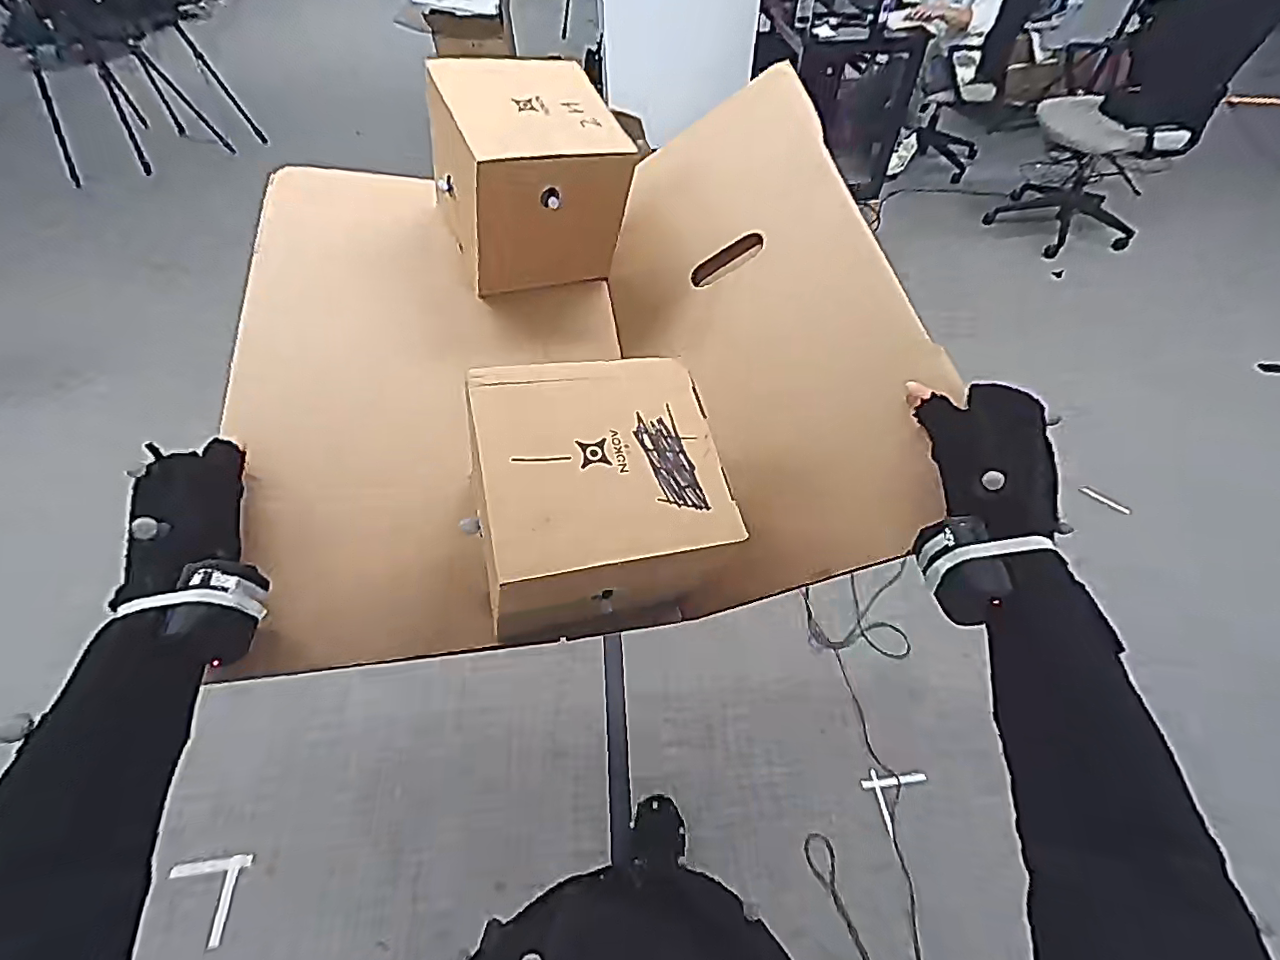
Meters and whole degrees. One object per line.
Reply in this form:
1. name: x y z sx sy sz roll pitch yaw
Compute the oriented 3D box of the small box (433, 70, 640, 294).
1. small box: -0.125 -0.341 0.635 0.179 0.176 0.168 -17 68 -24
